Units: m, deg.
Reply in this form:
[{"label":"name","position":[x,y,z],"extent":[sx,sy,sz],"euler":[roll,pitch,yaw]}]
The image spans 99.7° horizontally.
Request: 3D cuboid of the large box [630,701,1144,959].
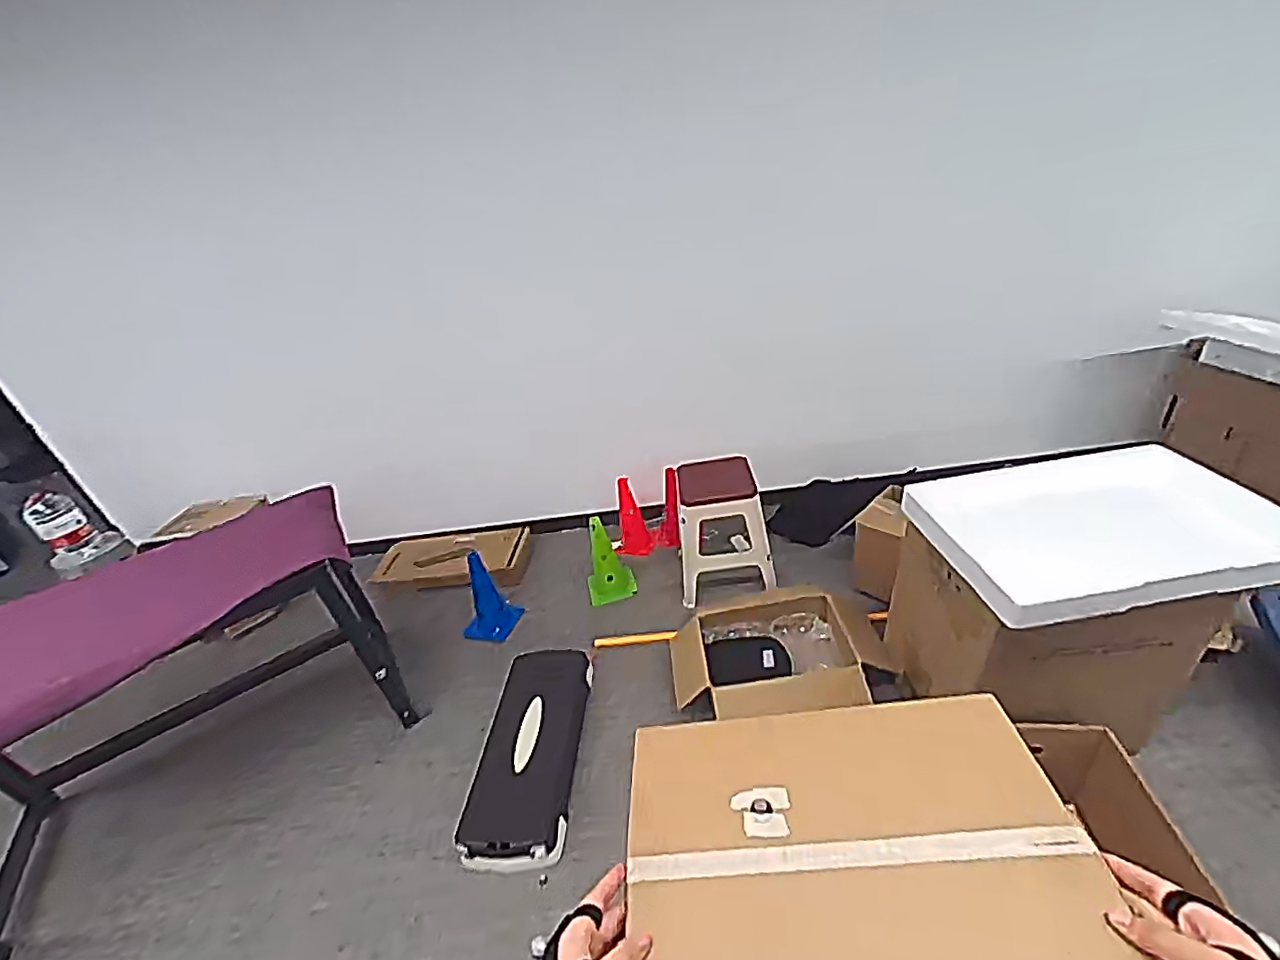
[{"label":"large box","position":[0.220,0.484,0.568],"extent":[0.408,0.320,0.320],"euler":[-10,26,8]}]
